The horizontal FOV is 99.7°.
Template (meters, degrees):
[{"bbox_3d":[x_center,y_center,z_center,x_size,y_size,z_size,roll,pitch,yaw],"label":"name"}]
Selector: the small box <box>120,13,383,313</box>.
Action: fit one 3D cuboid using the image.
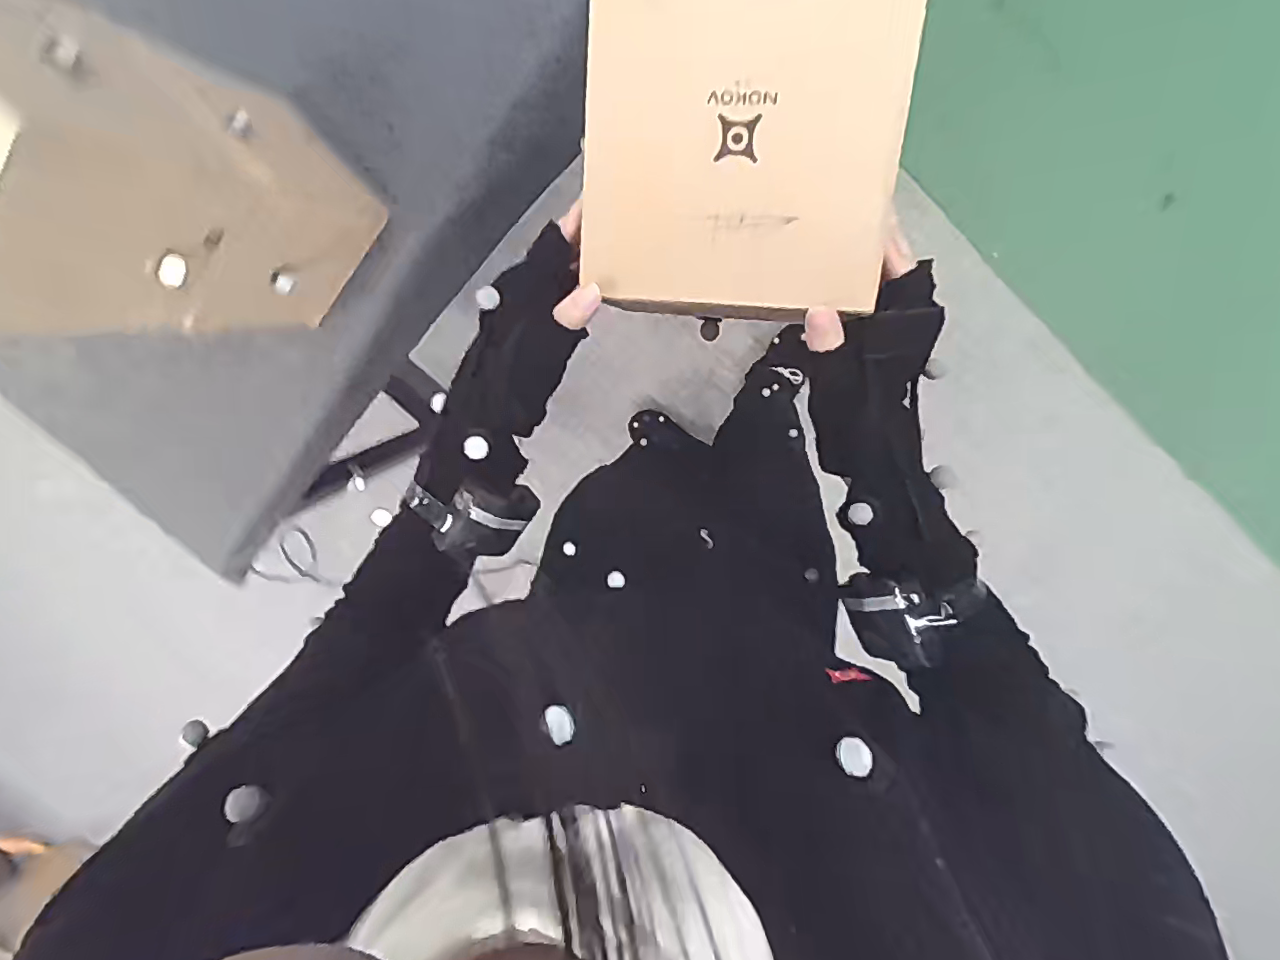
[{"bbox_3d":[-0.403,-0.288,0.545,0.179,0.176,0.168,-41,96,20],"label":"small box"}]
